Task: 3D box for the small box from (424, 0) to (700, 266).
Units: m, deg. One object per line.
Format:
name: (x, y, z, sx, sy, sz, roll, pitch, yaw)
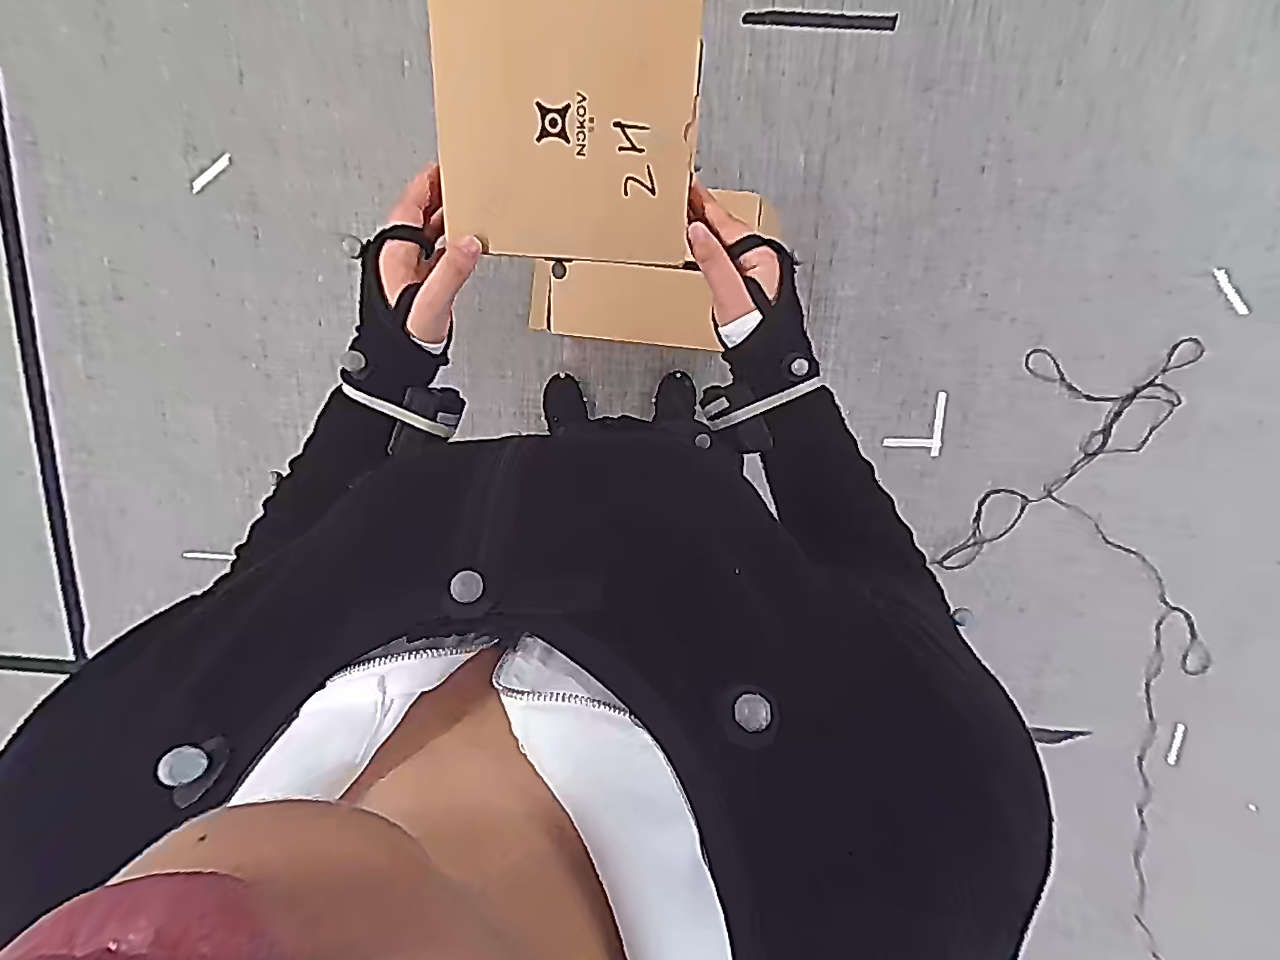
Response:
small box: (-0.053, -0.268, 0.438, 0.179, 0.176, 0.168, 3, 114, -1)
